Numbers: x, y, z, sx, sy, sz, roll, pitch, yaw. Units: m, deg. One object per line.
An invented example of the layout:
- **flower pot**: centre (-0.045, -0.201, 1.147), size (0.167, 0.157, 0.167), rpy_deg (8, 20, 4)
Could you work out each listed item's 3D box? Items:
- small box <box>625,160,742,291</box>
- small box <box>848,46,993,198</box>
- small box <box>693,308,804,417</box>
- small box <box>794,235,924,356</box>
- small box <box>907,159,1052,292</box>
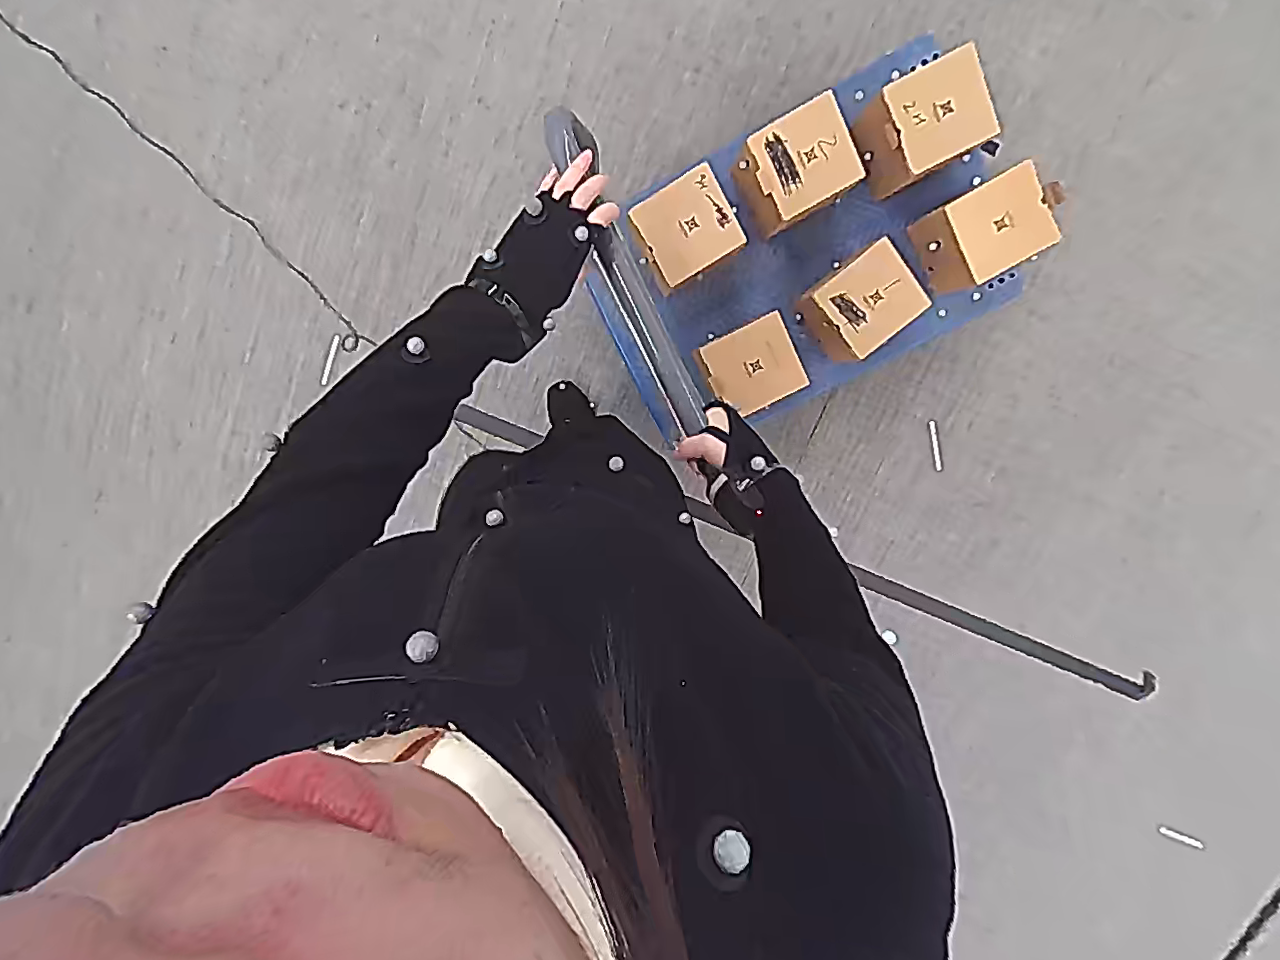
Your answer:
- **small box**: centre (0.086, -0.509, 1.114), size (0.179, 0.176, 0.168), rpy_deg (-29, 101, 6)
- **small box**: centre (0.547, -0.697, 1.075), size (0.179, 0.176, 0.168), rpy_deg (-24, 101, 6)
- **small box**: centre (0.224, -0.251, 1.172), size (0.179, 0.176, 0.168), rpy_deg (-26, 102, 5)
- **small box**: centre (0.448, -0.376, 1.144), size (0.179, 0.176, 0.168), rpy_deg (-38, 100, 7)
- **small box**: centre (0.684, -0.510, 1.116), size (0.179, 0.176, 0.168), rpy_deg (-29, 100, 6)
